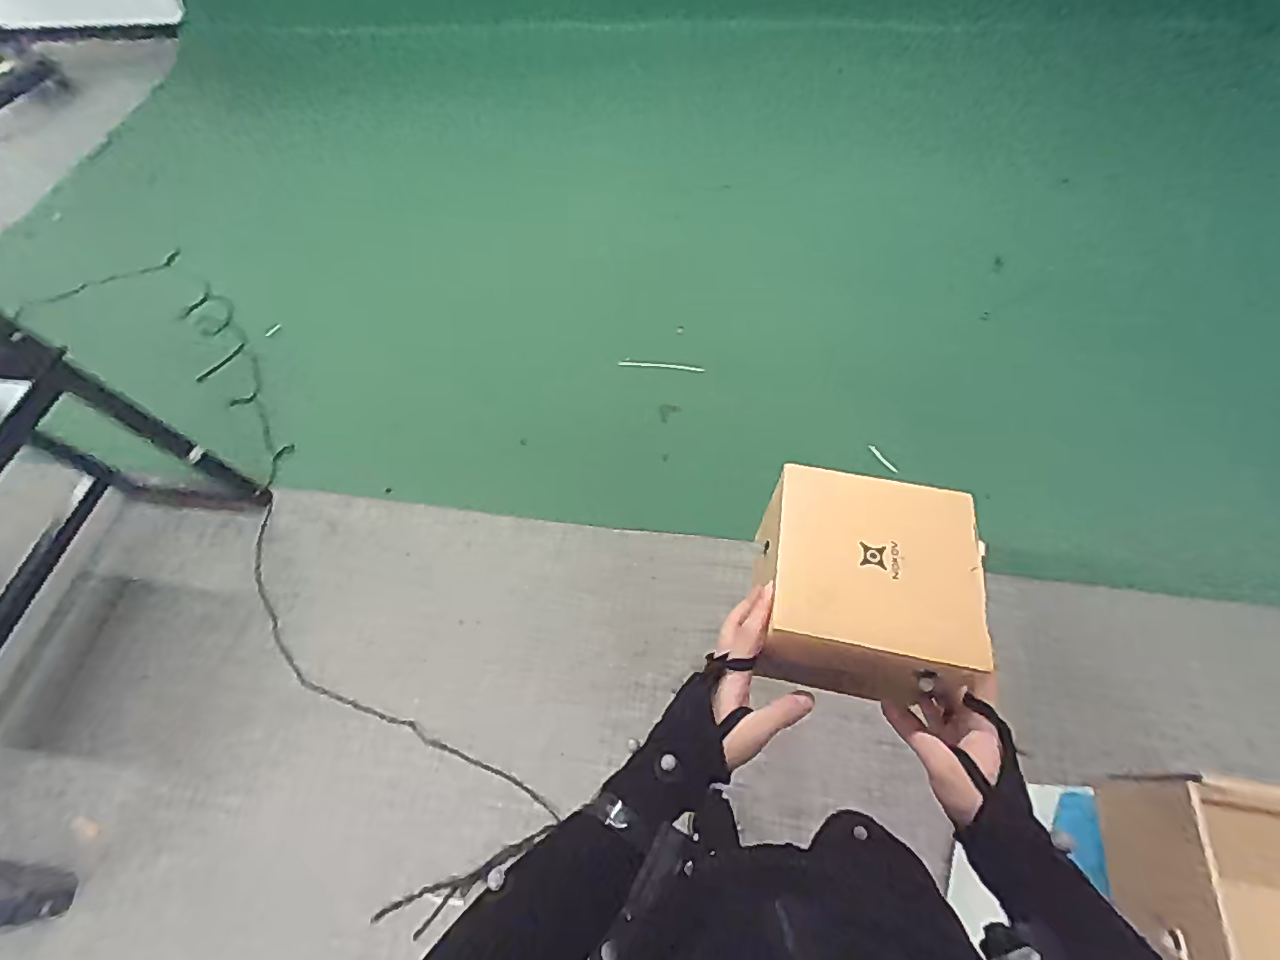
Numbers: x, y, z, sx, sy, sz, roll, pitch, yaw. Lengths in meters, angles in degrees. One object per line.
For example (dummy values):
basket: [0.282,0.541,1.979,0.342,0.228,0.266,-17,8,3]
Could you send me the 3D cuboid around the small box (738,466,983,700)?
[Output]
small box: [0.199,0.109,0.539,0.179,0.176,0.168,9,60,5]
